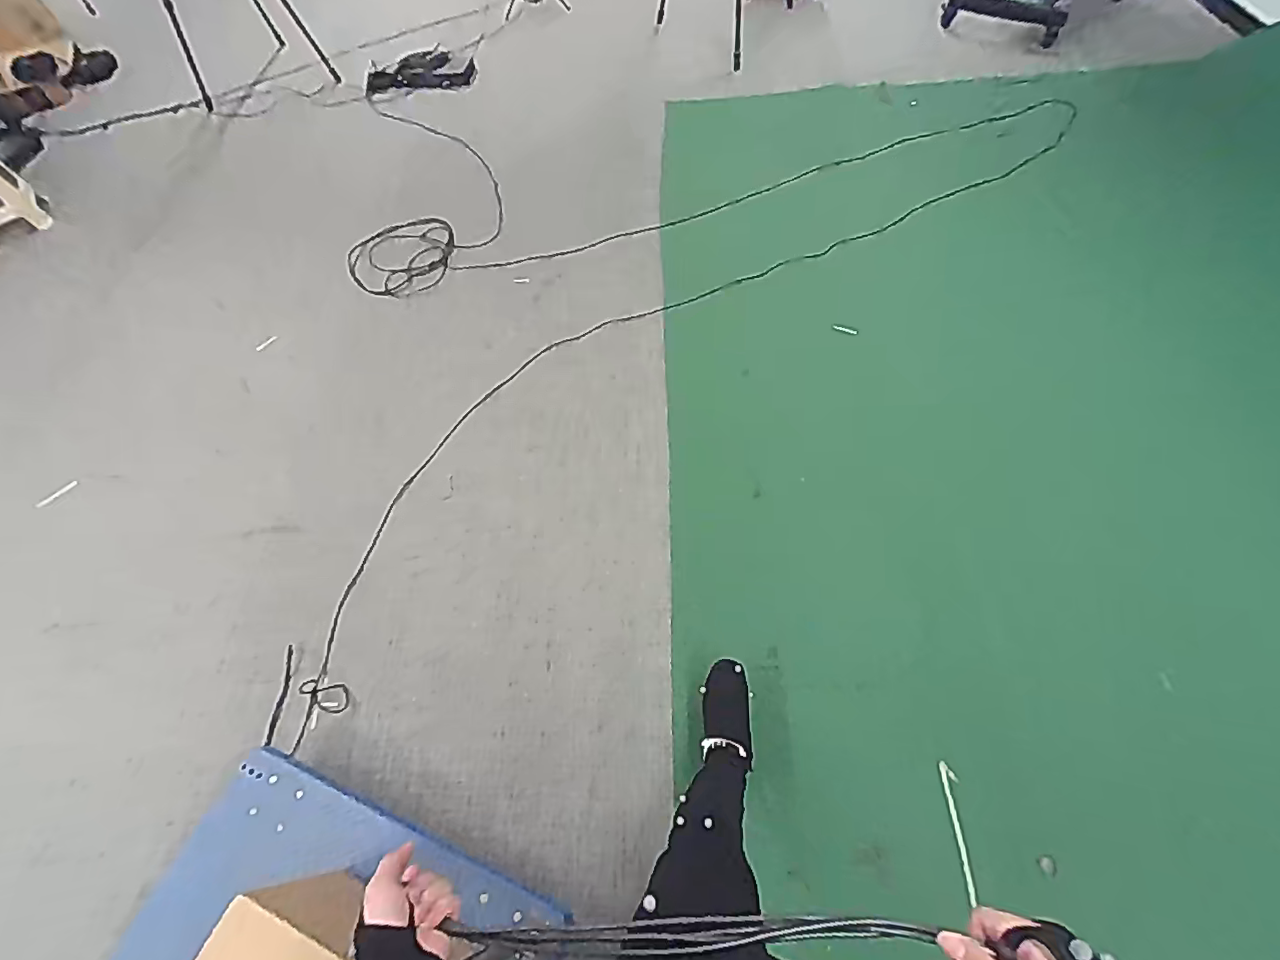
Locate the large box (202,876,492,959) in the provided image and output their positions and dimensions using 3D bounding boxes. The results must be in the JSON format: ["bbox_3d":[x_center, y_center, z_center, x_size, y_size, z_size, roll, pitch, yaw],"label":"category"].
[{"bbox_3d":[-0.521,0.945,0.910,0.408,0.320,0.320,16,62,16],"label":"large box"}]
